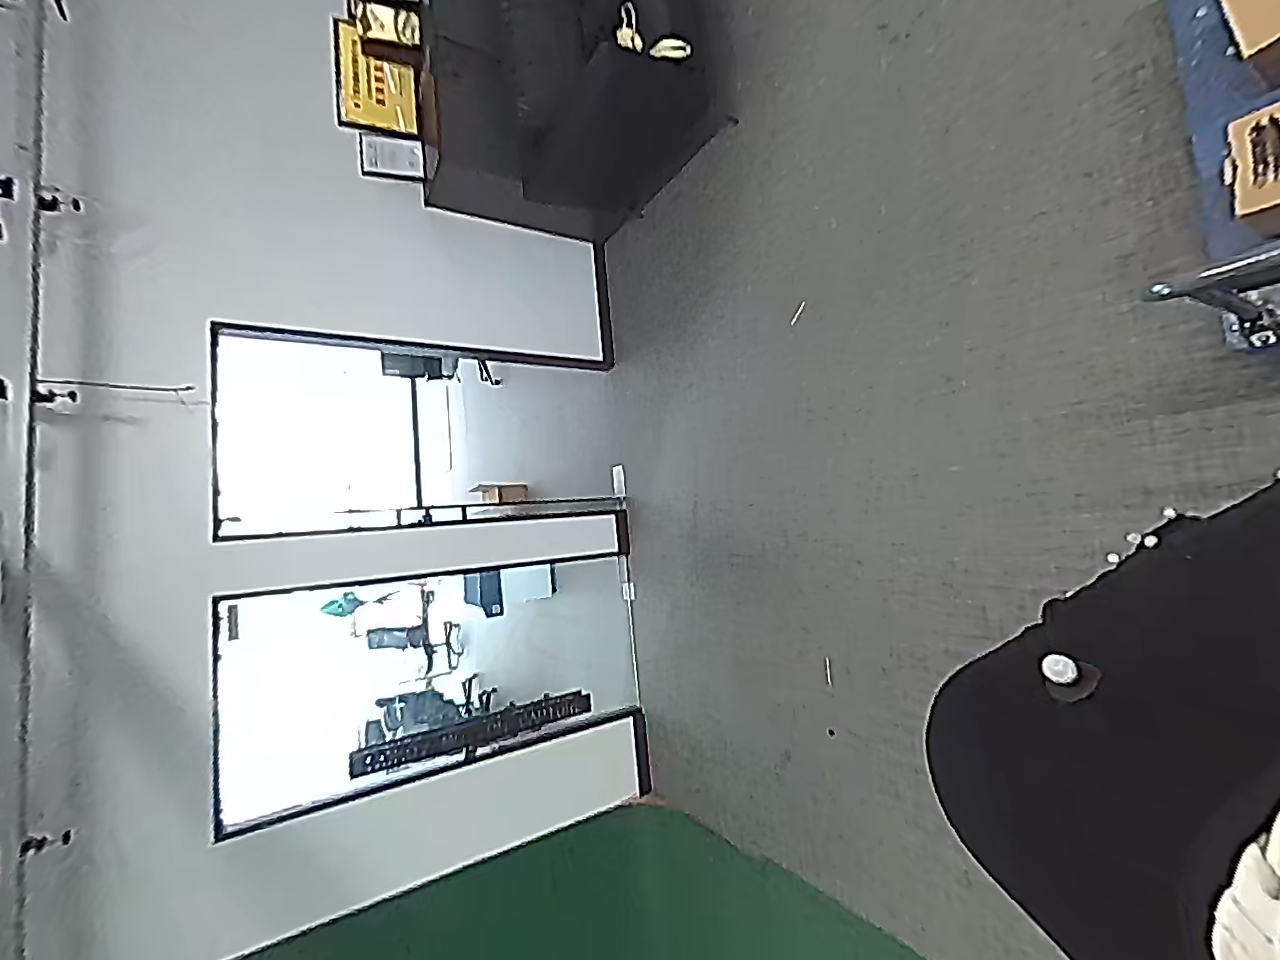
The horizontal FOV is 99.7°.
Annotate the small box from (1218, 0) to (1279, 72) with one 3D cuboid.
[{"bbox_3d":[1.097,-0.823,0.892,0.168,0.176,0.179,-23,73,55],"label":"small box"}]
